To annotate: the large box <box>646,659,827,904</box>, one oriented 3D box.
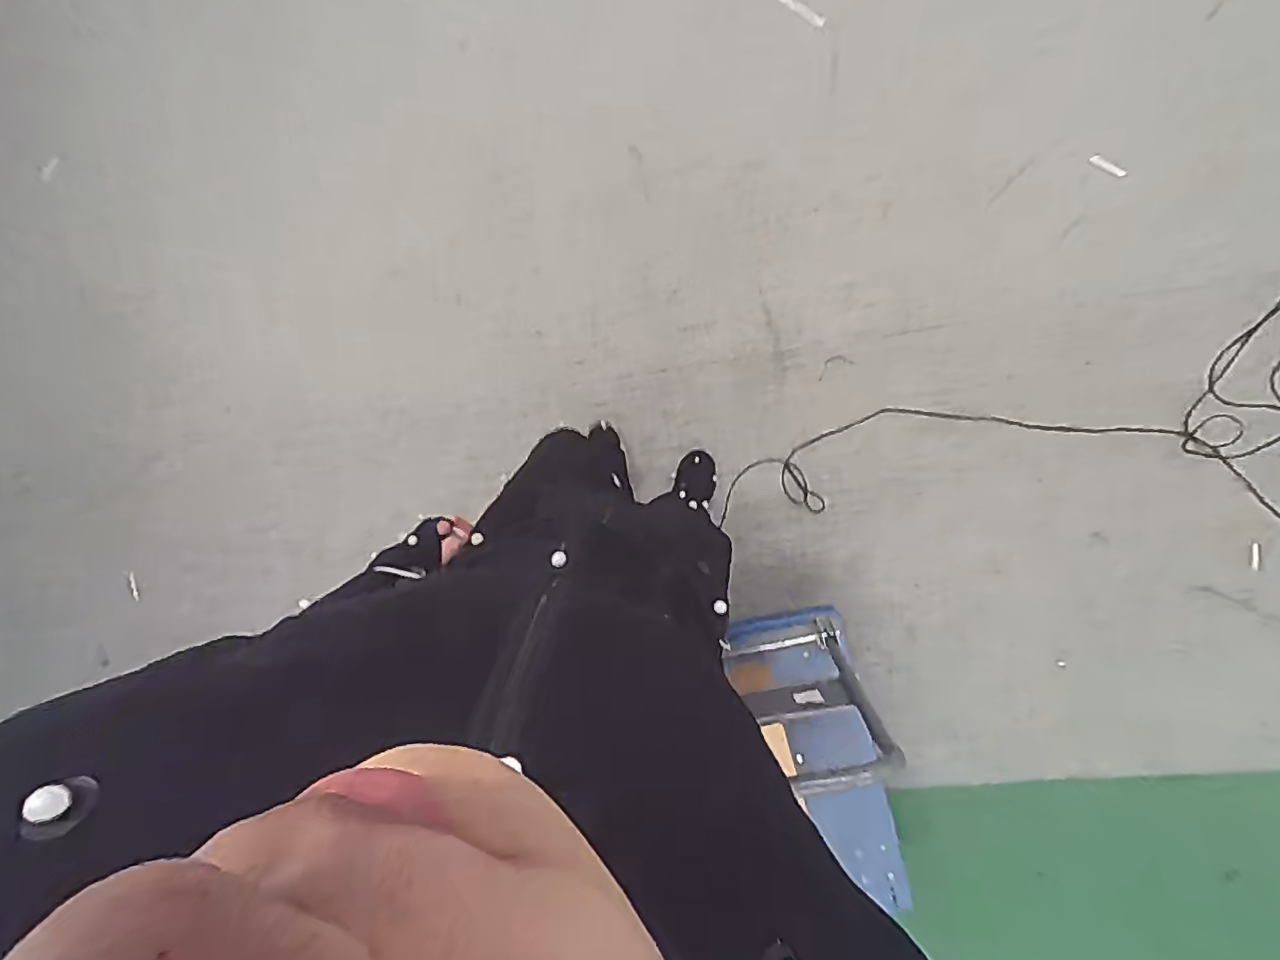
[{"bbox_3d":[0.228,0.722,1.344,0.320,0.320,0.408,-15,94,9],"label":"large box"}]
